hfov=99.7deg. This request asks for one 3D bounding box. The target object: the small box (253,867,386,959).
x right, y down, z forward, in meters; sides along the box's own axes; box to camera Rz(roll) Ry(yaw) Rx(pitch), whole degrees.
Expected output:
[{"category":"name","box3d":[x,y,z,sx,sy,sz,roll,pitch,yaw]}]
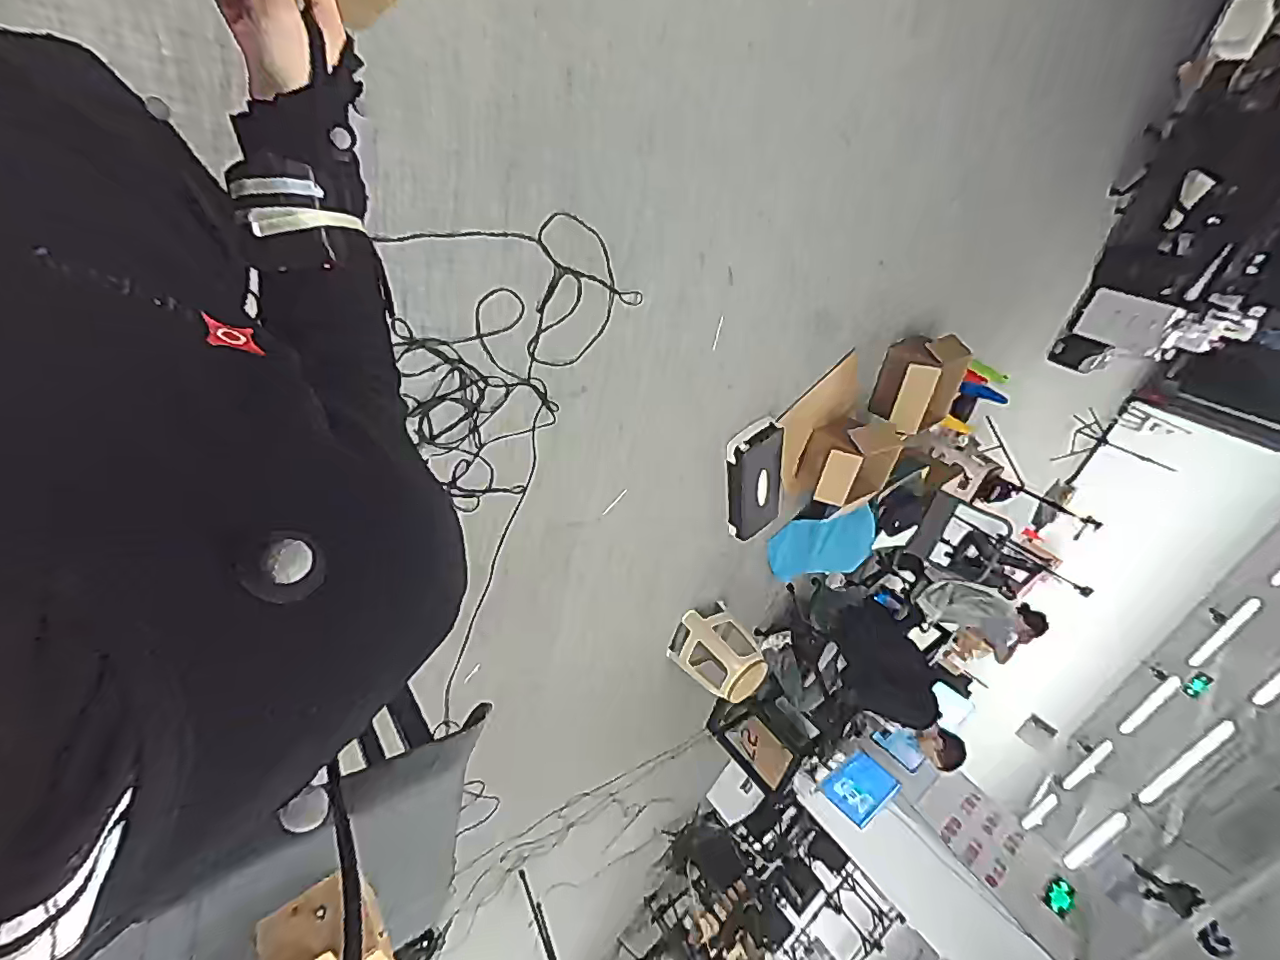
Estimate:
[{"category":"small box","box3d":[-0.584,0.870,1.001,0.168,0.176,0.179,-22,134,-32]}]
